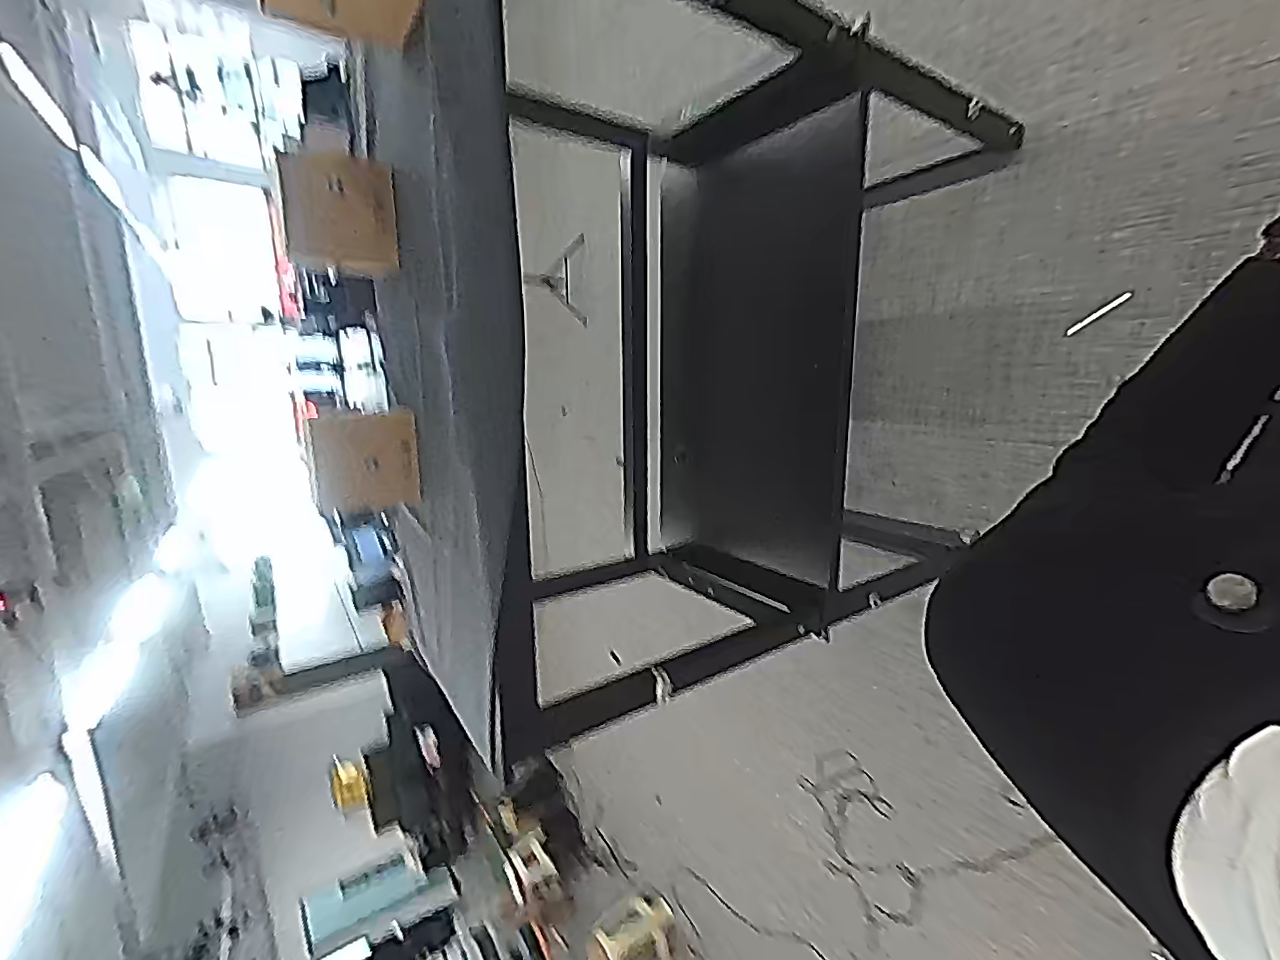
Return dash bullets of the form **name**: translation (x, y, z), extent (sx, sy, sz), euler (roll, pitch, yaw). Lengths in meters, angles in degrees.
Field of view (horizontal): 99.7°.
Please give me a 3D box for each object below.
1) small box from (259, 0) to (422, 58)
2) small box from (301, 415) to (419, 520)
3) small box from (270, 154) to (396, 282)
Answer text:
- **small box**: translation (-0.366, -0.652, 0.647), extent (0.179, 0.176, 0.168), euler (15, 110, 55)
- **small box**: translation (-0.516, -0.034, 1.006), extent (0.179, 0.176, 0.168), euler (13, 107, 54)
- **small box**: translation (-0.526, -0.441, 0.938), extent (0.179, 0.176, 0.168), euler (23, 115, 52)
